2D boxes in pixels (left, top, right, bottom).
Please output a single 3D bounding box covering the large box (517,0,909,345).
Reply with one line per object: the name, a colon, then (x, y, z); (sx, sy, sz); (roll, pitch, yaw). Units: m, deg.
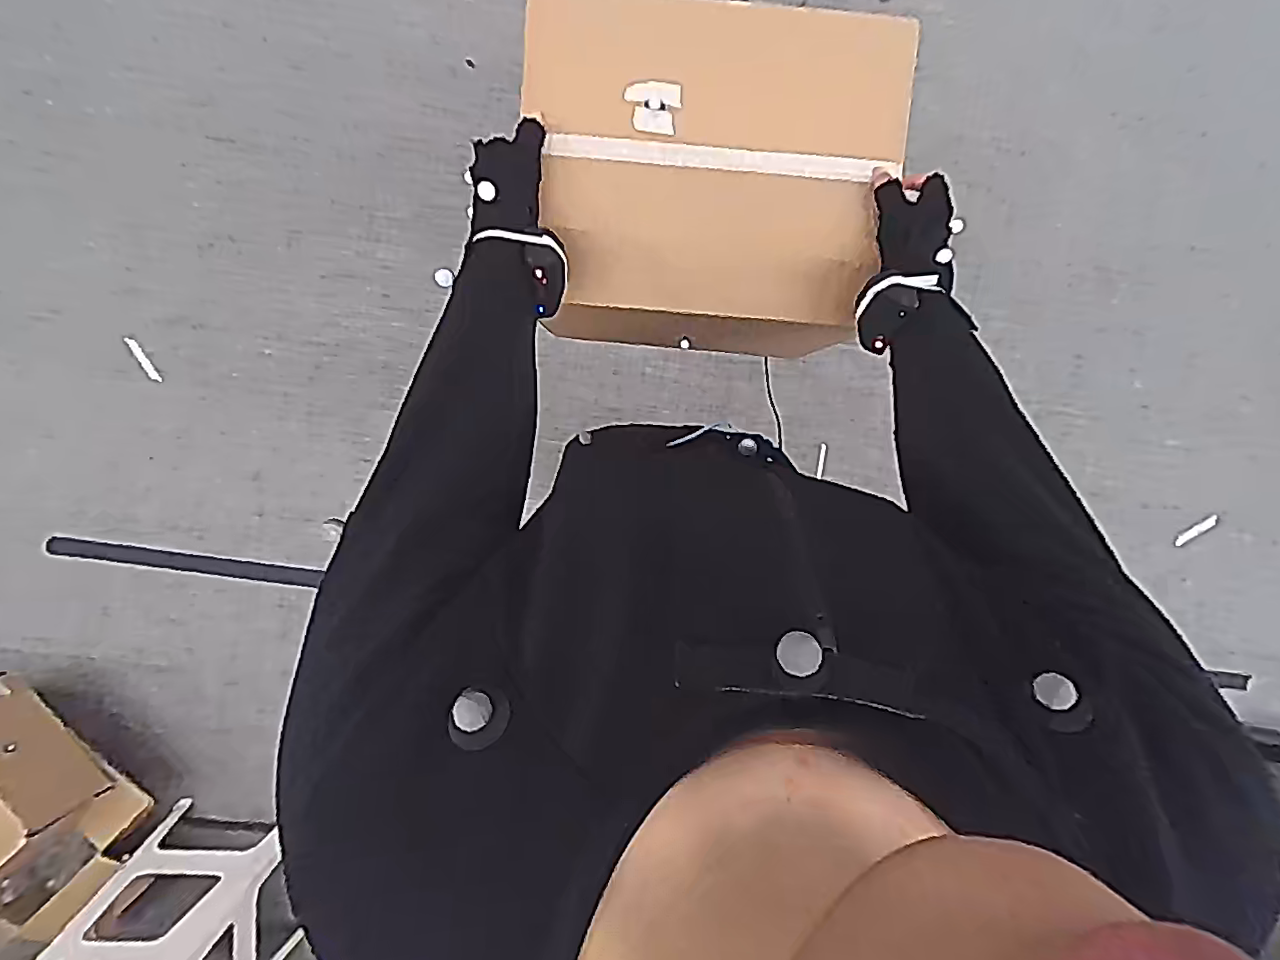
large box: (0.074, -0.362, 0.724); (0.408, 0.320, 0.320); (5, 96, -1)
